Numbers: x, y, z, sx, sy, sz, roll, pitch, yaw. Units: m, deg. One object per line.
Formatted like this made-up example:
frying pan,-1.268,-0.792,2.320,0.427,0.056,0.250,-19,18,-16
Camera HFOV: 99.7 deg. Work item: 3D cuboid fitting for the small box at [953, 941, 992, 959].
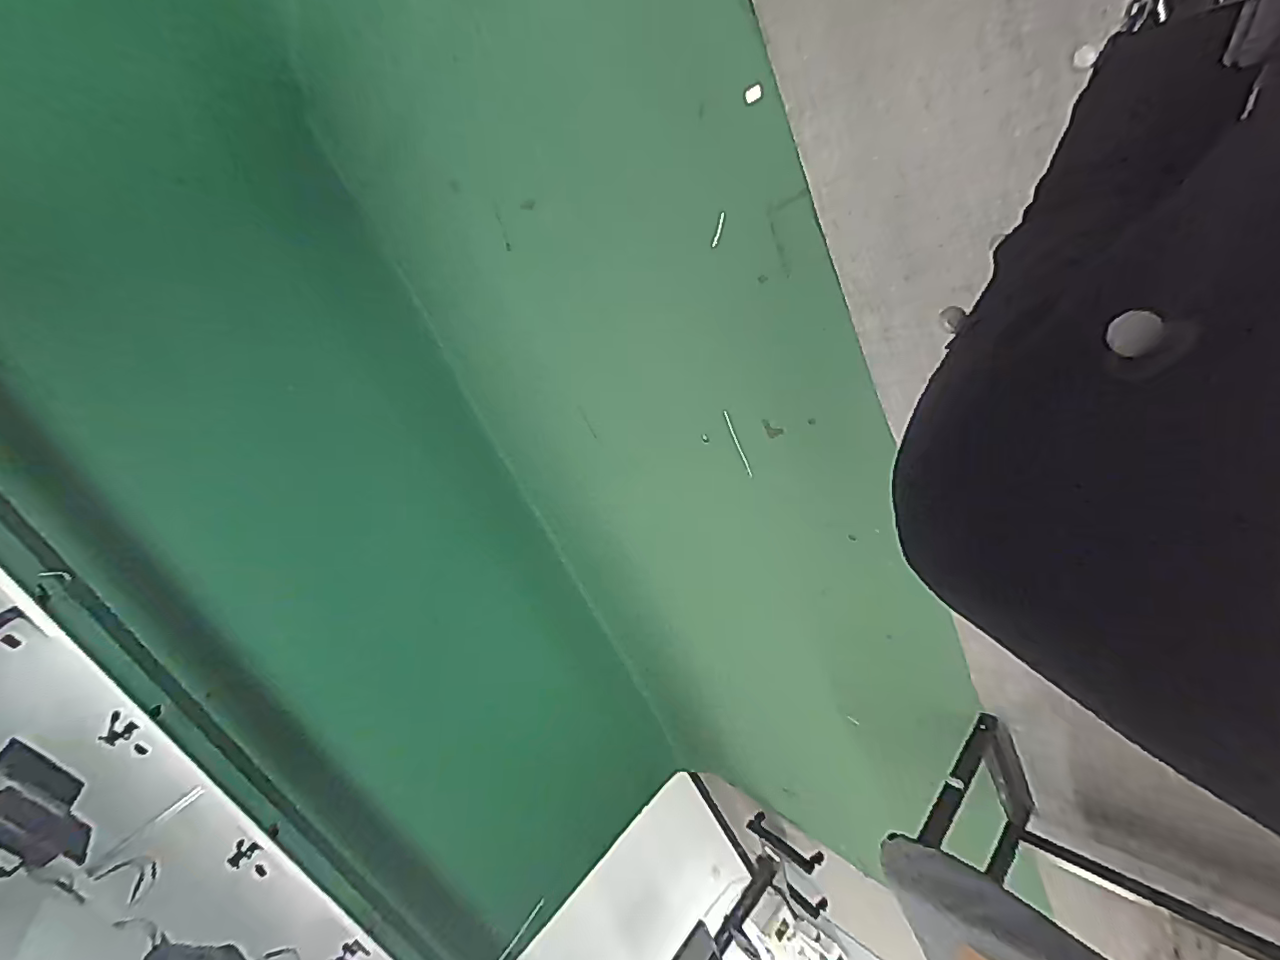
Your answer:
small box,0.968,1.457,1.504,0.168,0.176,0.179,2,125,53
